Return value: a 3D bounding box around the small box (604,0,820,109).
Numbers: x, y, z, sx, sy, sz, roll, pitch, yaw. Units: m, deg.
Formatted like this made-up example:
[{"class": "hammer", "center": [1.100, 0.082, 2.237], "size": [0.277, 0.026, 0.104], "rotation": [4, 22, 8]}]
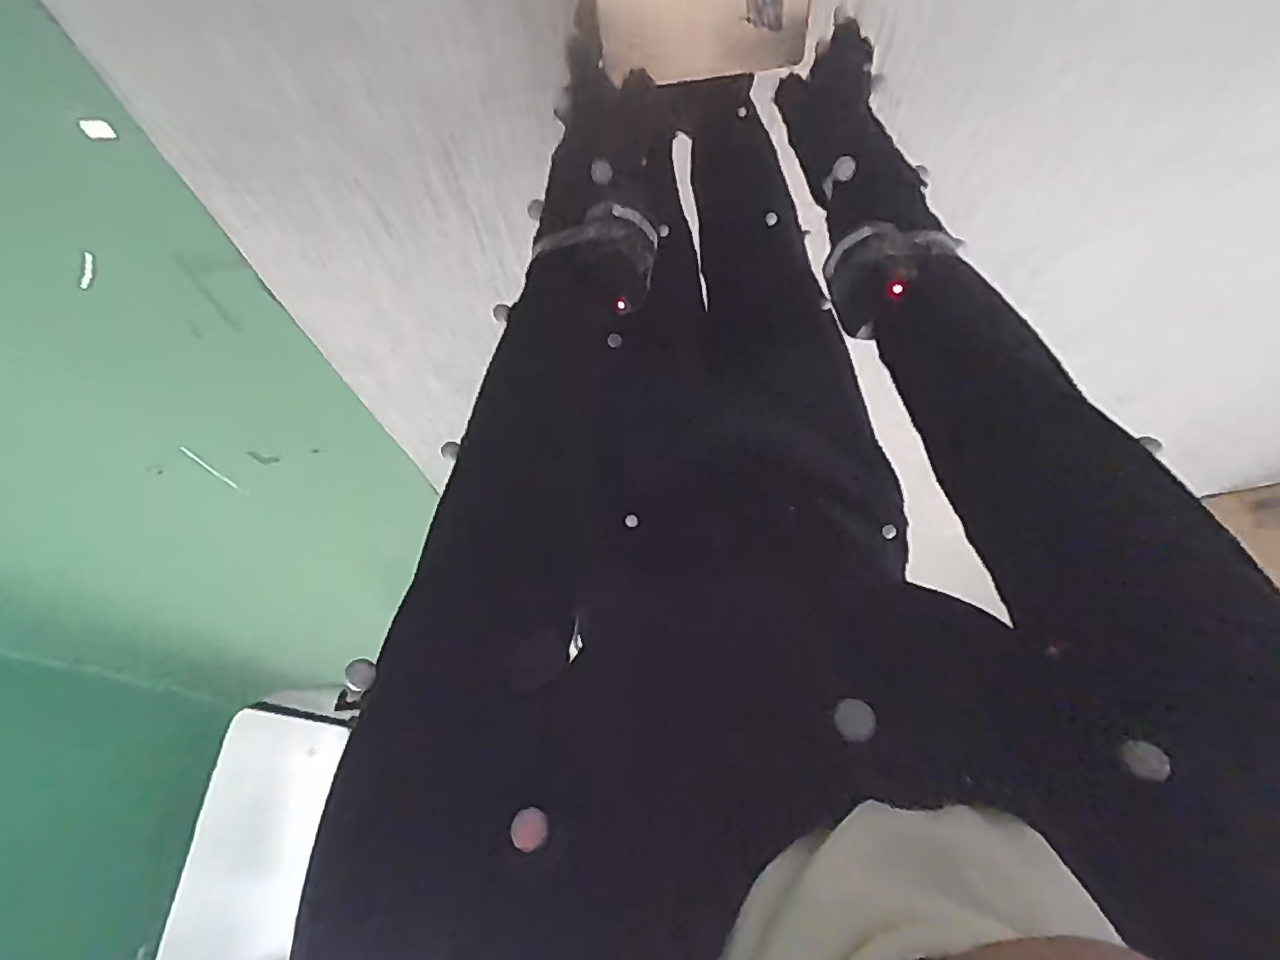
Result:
[{"class": "small box", "center": [0.051, -0.464, 0.465], "size": [0.179, 0.176, 0.168], "rotation": [-8, 149, 5]}]
